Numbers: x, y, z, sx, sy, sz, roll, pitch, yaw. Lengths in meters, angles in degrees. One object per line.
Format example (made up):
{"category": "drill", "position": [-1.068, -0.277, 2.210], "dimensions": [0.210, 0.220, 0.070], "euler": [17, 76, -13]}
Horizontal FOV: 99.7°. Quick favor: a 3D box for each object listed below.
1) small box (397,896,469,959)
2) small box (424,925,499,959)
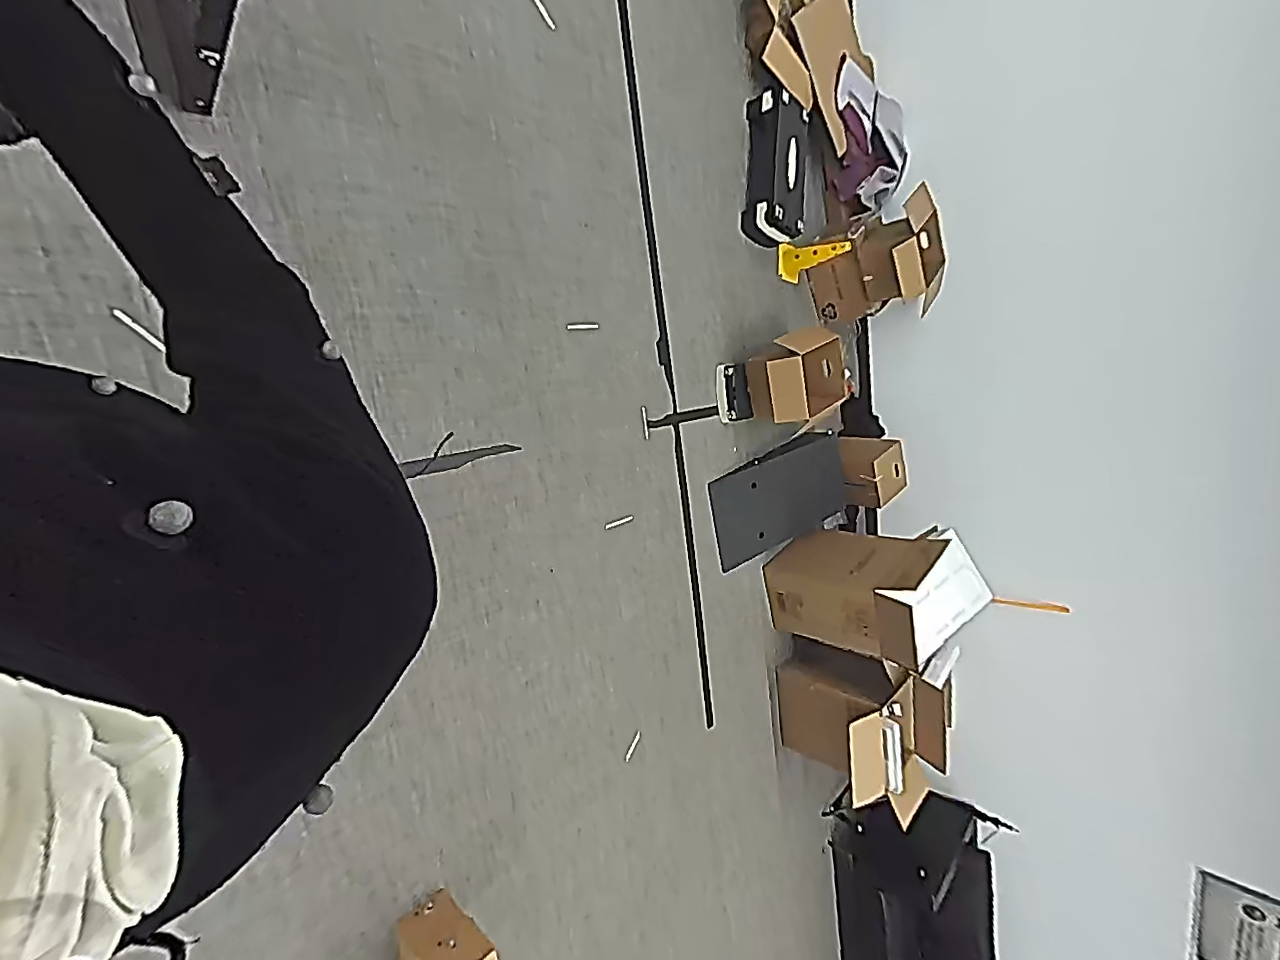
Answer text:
{"category": "small box", "position": [-0.636, 1.466, 1.685], "dimensions": [0.168, 0.176, 0.179], "euler": [-15, 103, -44]}
{"category": "small box", "position": [-0.515, 1.467, 1.574], "dimensions": [0.168, 0.176, 0.179], "euler": [-16, 103, -44]}
